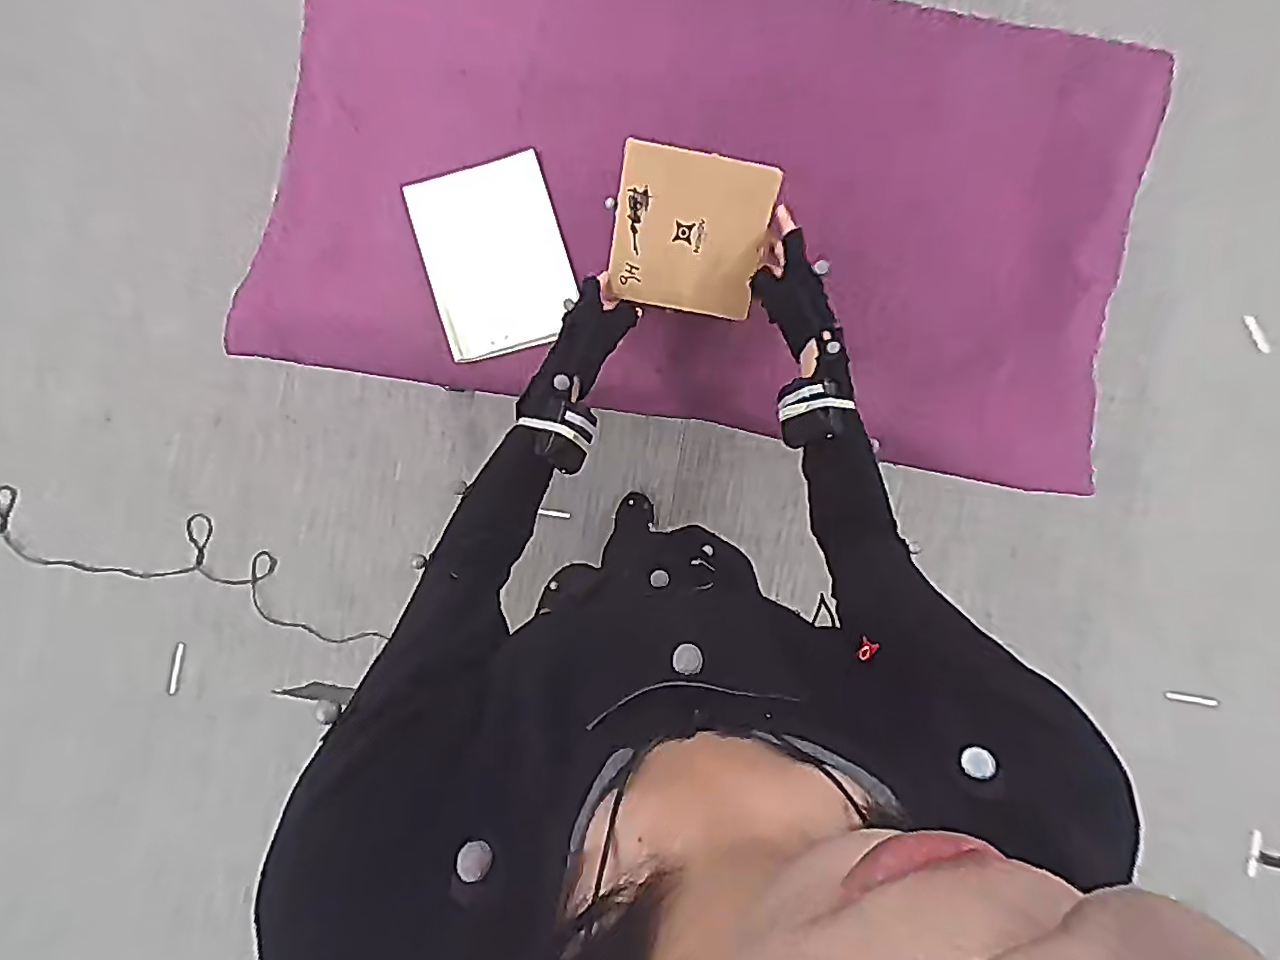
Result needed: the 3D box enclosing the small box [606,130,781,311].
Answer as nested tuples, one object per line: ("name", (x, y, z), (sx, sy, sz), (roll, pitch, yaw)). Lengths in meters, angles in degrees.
("small box", (0.056, -0.315, 0.683), (0.179, 0.176, 0.168), (7, 109, -4))
